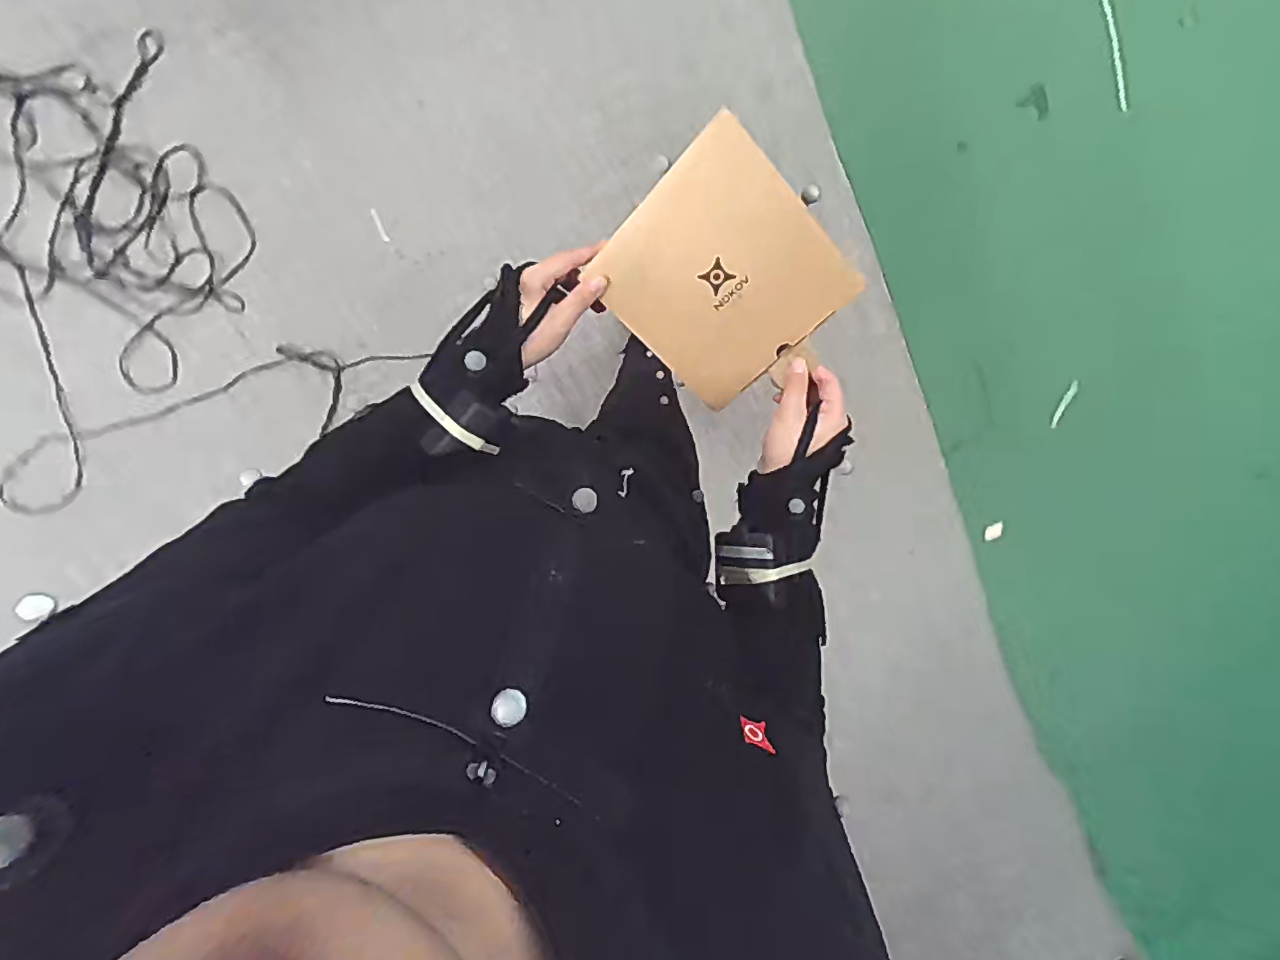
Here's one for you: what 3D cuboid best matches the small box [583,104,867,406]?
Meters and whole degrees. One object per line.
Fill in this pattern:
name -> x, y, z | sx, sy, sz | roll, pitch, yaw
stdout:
small box -> 0.072, -0.208, 0.510 | 0.179, 0.176, 0.168 | 38, 117, -19
